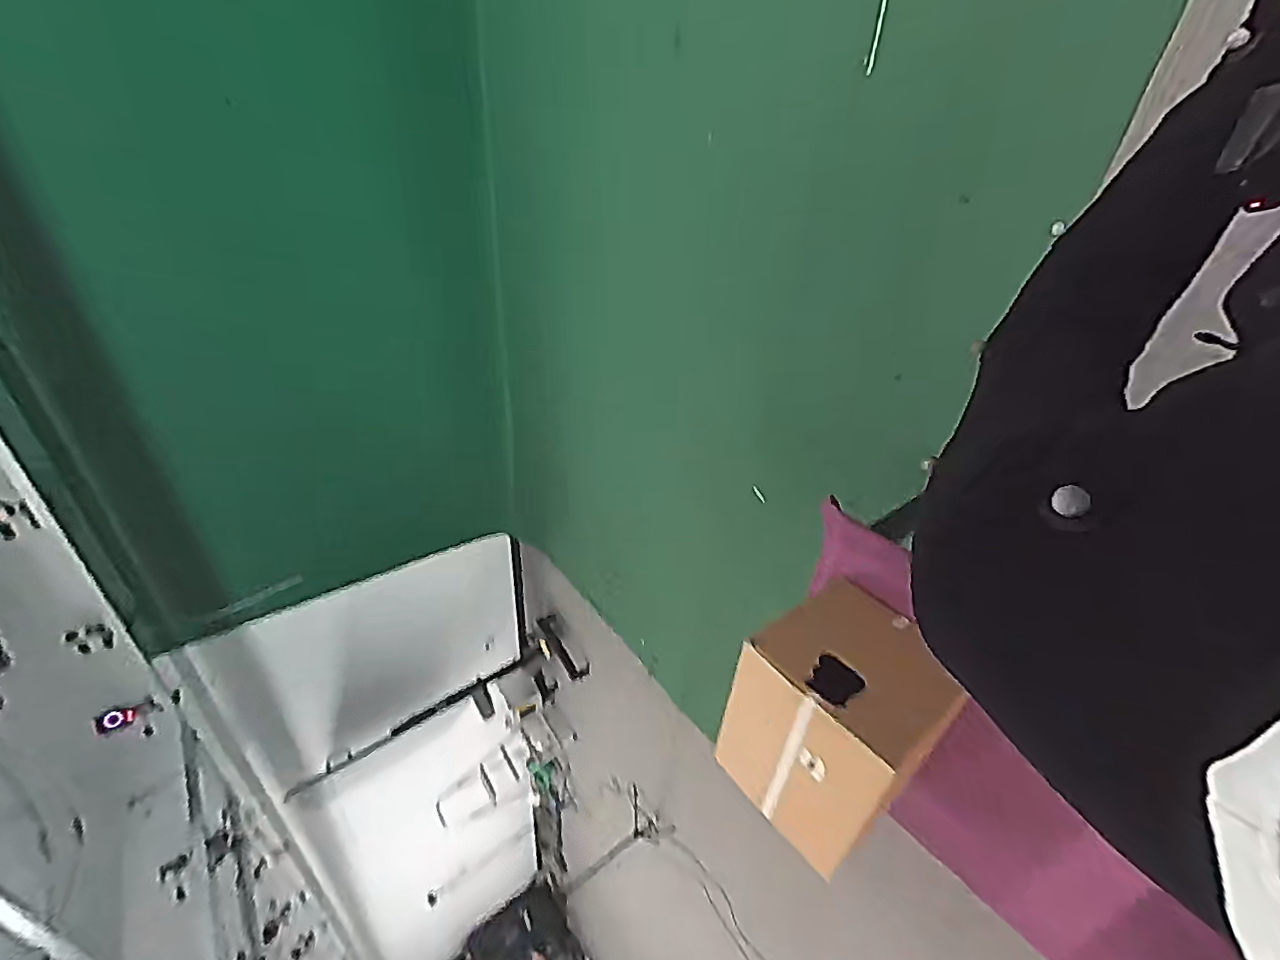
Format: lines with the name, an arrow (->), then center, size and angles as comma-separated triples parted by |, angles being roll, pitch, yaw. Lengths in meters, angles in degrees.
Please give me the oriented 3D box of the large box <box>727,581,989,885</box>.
large box -> 0.415, 0.489, 1.093 | 0.320, 0.320, 0.408 | 35, 133, 39
